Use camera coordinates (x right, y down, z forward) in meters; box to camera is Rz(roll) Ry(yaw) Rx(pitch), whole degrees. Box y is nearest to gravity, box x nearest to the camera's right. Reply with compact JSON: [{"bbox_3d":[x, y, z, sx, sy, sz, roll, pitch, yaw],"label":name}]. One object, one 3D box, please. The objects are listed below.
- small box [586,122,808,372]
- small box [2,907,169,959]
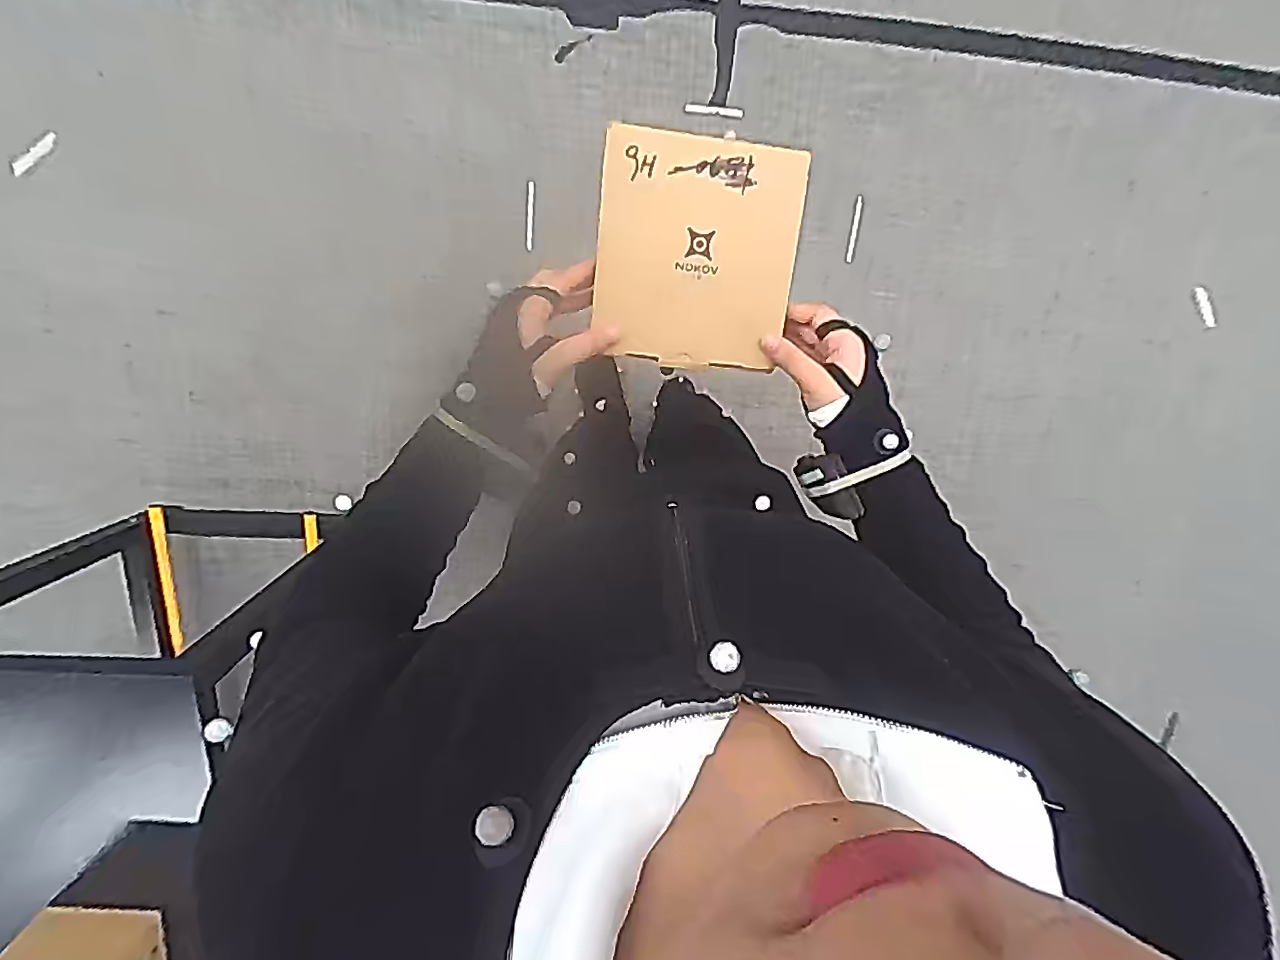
[{"bbox_3d":[0.038,-0.208,0.521,0.168,0.176,0.179,5,106,-6],"label":"small box"},{"bbox_3d":[-0.874,0.794,0.823,0.179,0.176,0.168,7,106,-6],"label":"small box"}]
